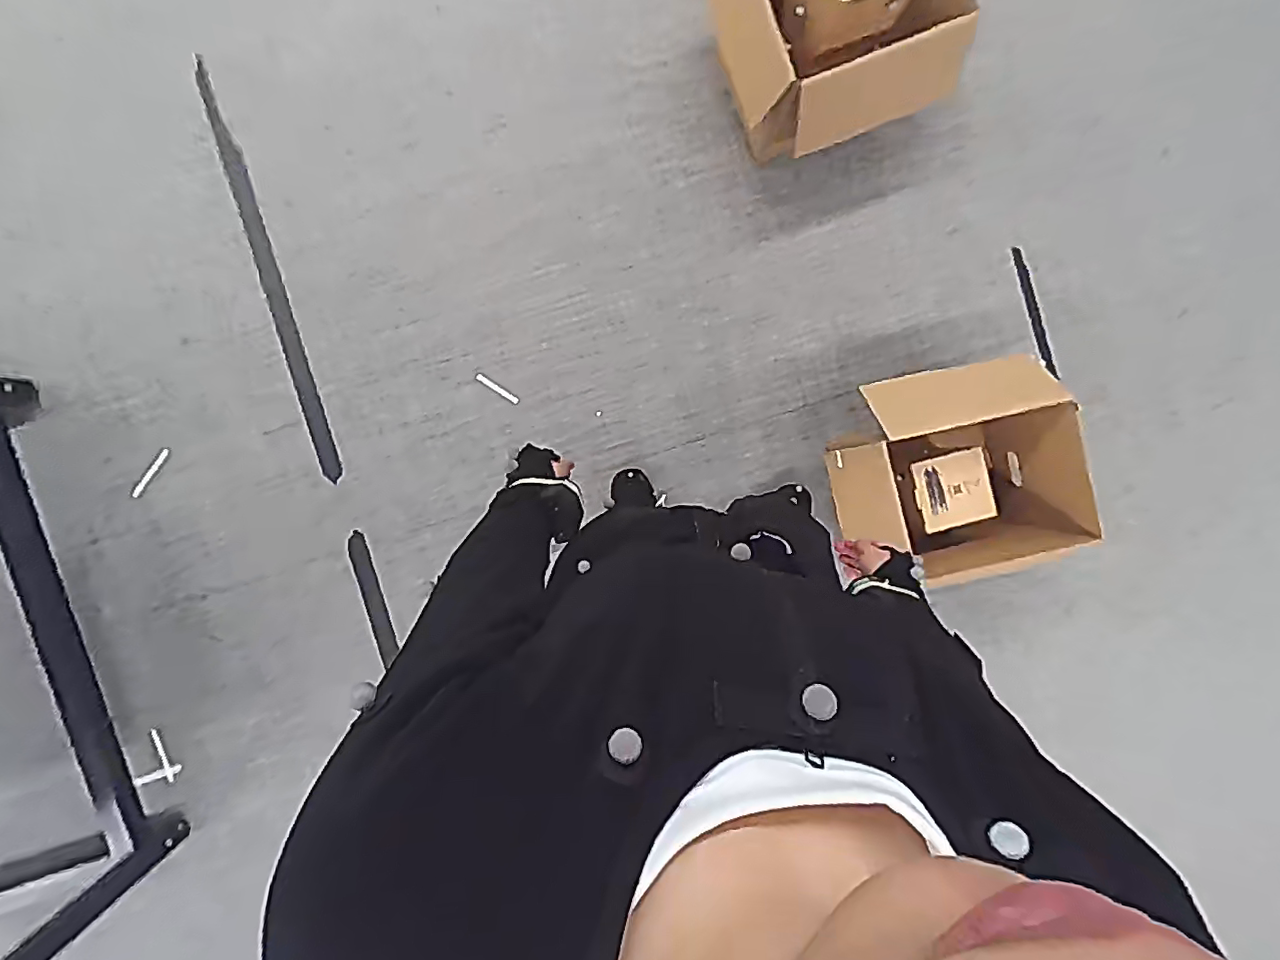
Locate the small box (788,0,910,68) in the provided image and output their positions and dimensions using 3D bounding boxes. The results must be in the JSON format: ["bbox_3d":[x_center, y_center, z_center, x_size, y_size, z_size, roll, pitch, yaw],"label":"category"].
[{"bbox_3d":[0.428,-0.997,1.100,0.179,0.176,0.168,-20,92,-1],"label":"small box"}]
